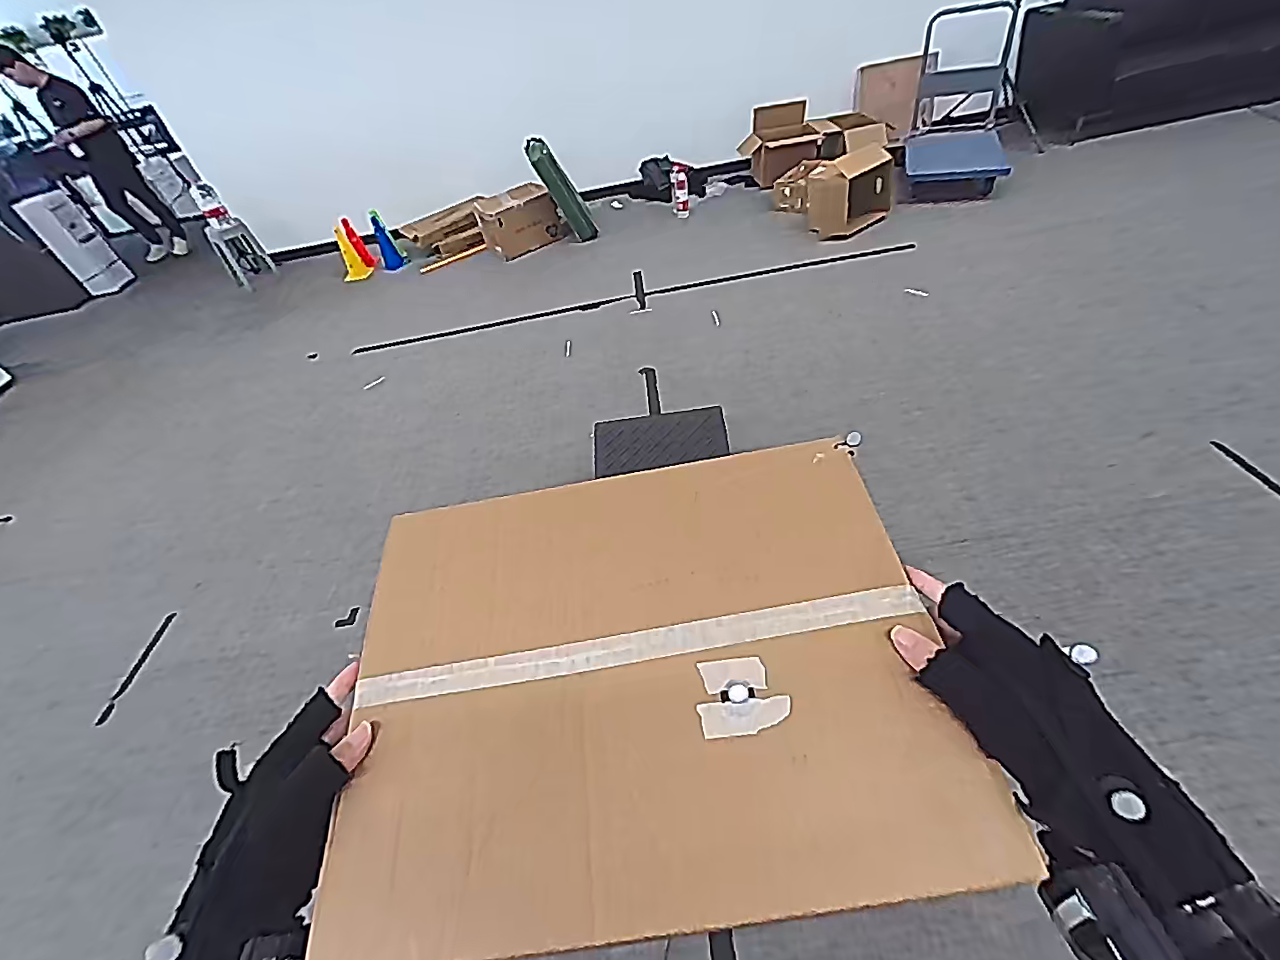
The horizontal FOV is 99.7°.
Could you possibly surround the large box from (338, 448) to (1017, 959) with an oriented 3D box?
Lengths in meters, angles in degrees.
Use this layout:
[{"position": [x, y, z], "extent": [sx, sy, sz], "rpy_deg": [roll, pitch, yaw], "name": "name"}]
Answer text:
[{"position": [0.018, 0.215, 0.513], "extent": [0.408, 0.320, 0.320], "rpy_deg": [-10, 53, 2], "name": "large box"}]
